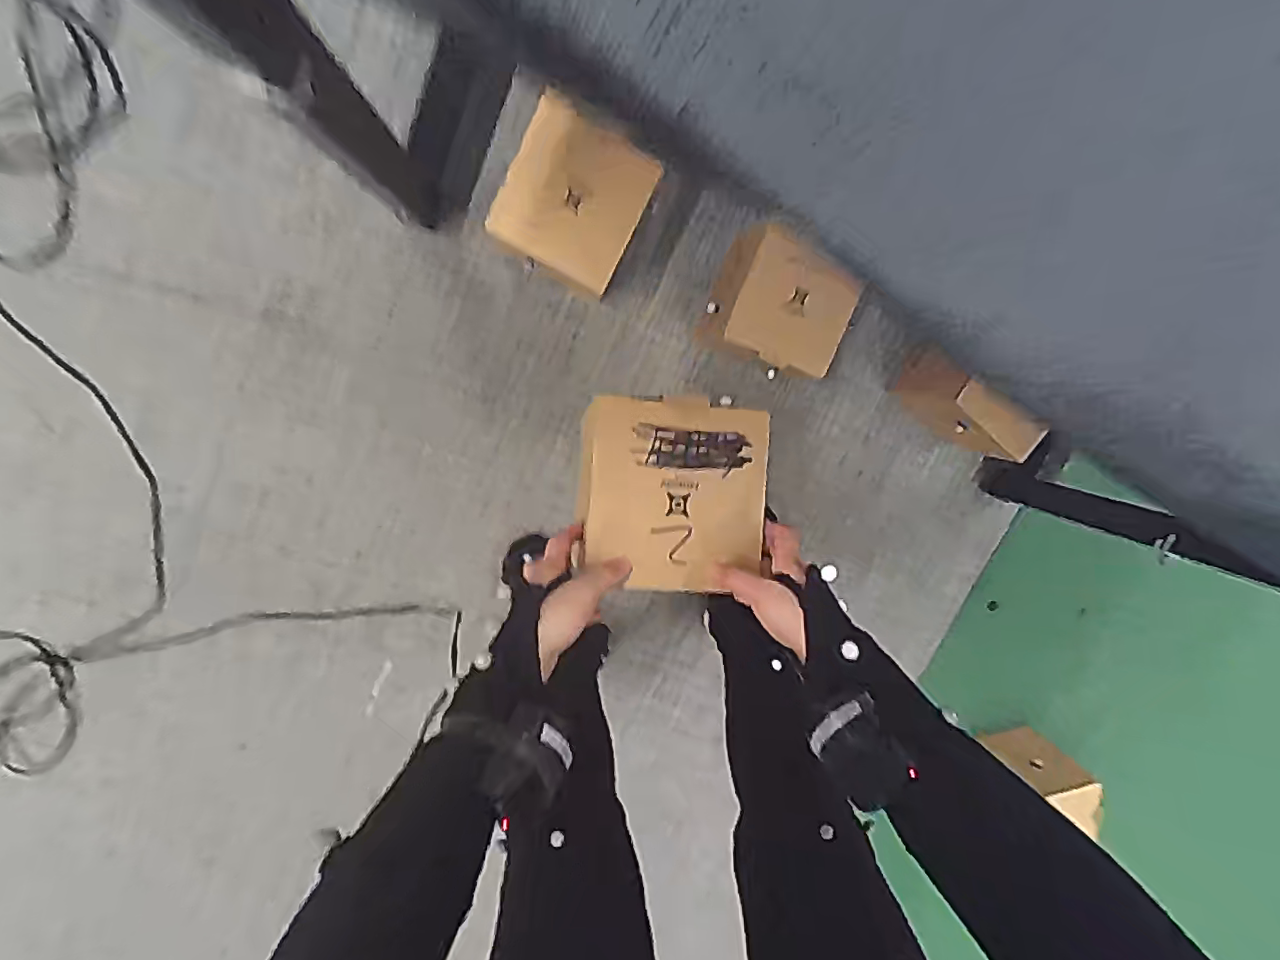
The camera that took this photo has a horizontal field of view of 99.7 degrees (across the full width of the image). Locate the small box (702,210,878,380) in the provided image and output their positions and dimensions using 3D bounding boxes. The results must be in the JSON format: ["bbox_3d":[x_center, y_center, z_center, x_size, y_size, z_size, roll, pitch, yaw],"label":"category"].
[{"bbox_3d":[0.207,-0.263,0.806,0.168,0.176,0.179,20,99,-13],"label":"small box"}]

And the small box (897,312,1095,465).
[{"bbox_3d":[0.570,-0.152,0.888,0.179,0.176,0.168,35,97,-16],"label":"small box"}]

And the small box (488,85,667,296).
[{"bbox_3d":[-0.085,-0.370,0.736,0.168,0.176,0.179,26,98,-14],"label":"small box"}]

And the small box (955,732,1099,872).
[{"bbox_3d":[0.799,0.660,1.130,0.179,0.176,0.168,-10,105,-7],"label":"small box"}]
